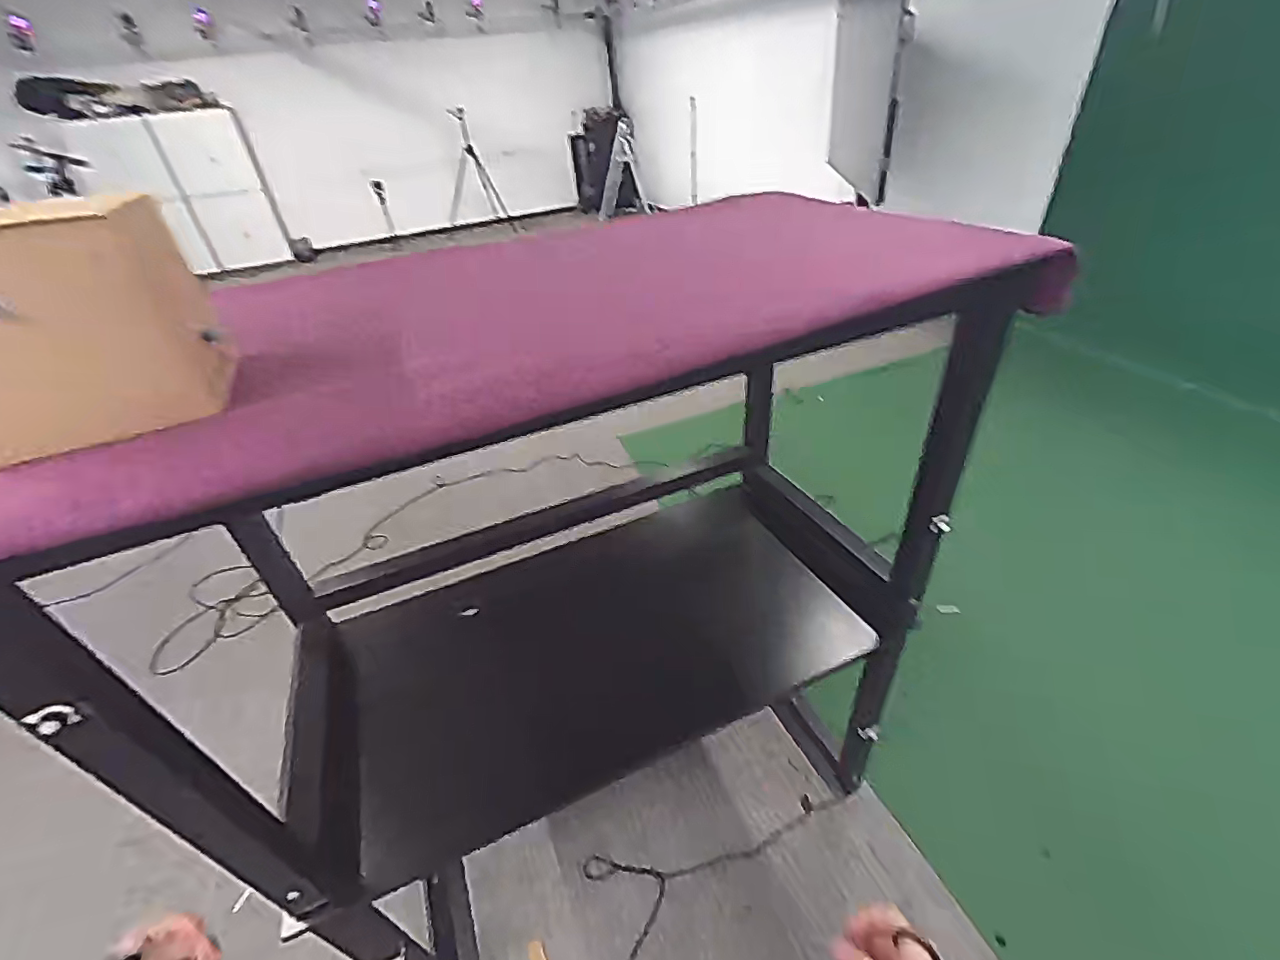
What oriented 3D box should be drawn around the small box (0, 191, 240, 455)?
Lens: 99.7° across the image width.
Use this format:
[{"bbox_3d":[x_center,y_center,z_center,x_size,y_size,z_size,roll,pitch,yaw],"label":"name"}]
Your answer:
[{"bbox_3d":[-0.494,-0.140,0.470,0.179,0.176,0.168,-19,38,-20],"label":"small box"}]
